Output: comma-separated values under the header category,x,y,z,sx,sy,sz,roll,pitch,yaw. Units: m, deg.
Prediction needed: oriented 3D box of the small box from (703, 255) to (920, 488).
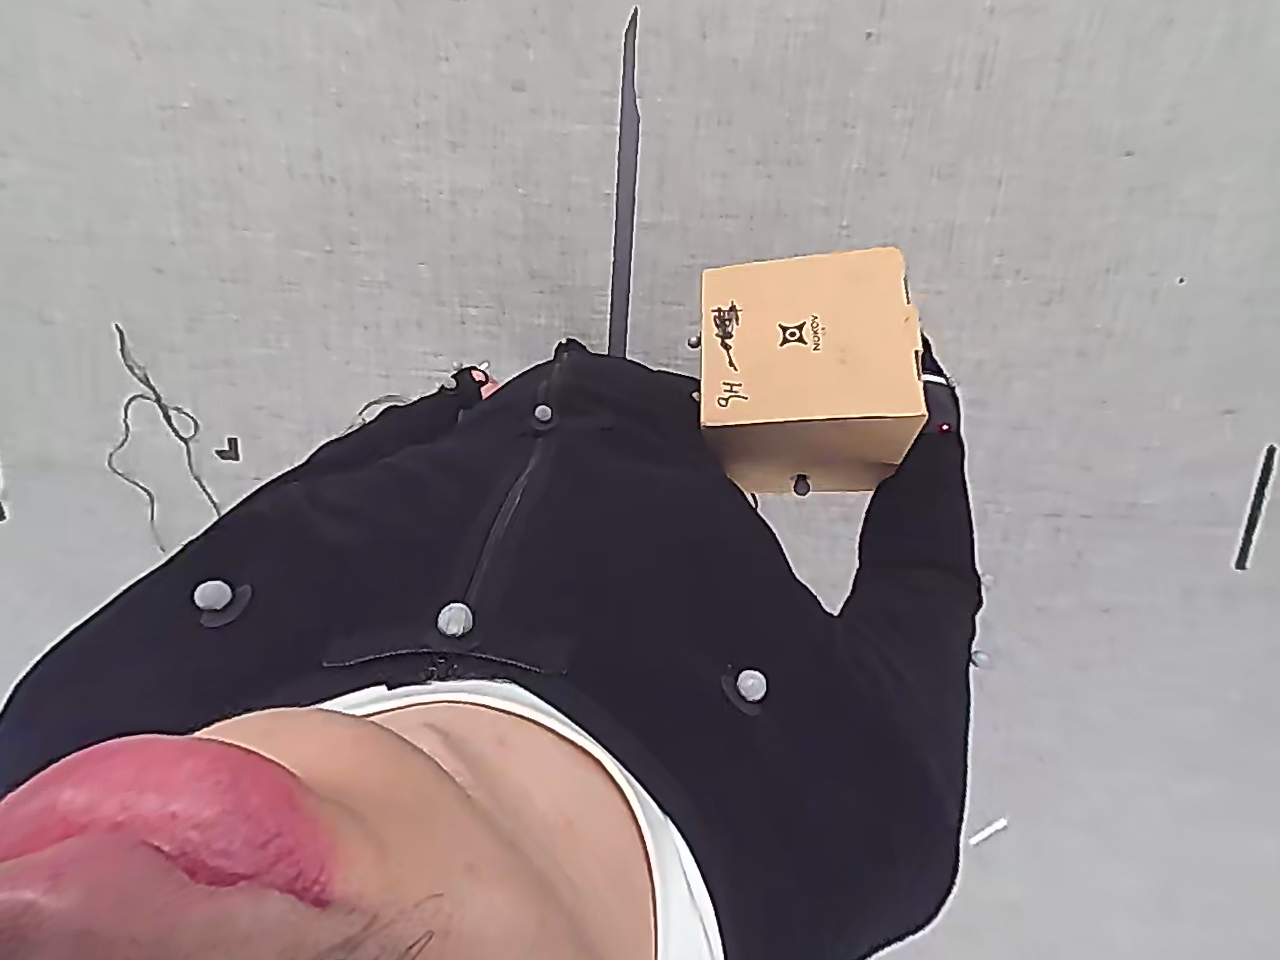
category,x,y,z,sx,sy,sz,roll,pitch,yaw
small box,0.159,-0.097,0.547,0.179,0.176,0.168,-1,68,12
